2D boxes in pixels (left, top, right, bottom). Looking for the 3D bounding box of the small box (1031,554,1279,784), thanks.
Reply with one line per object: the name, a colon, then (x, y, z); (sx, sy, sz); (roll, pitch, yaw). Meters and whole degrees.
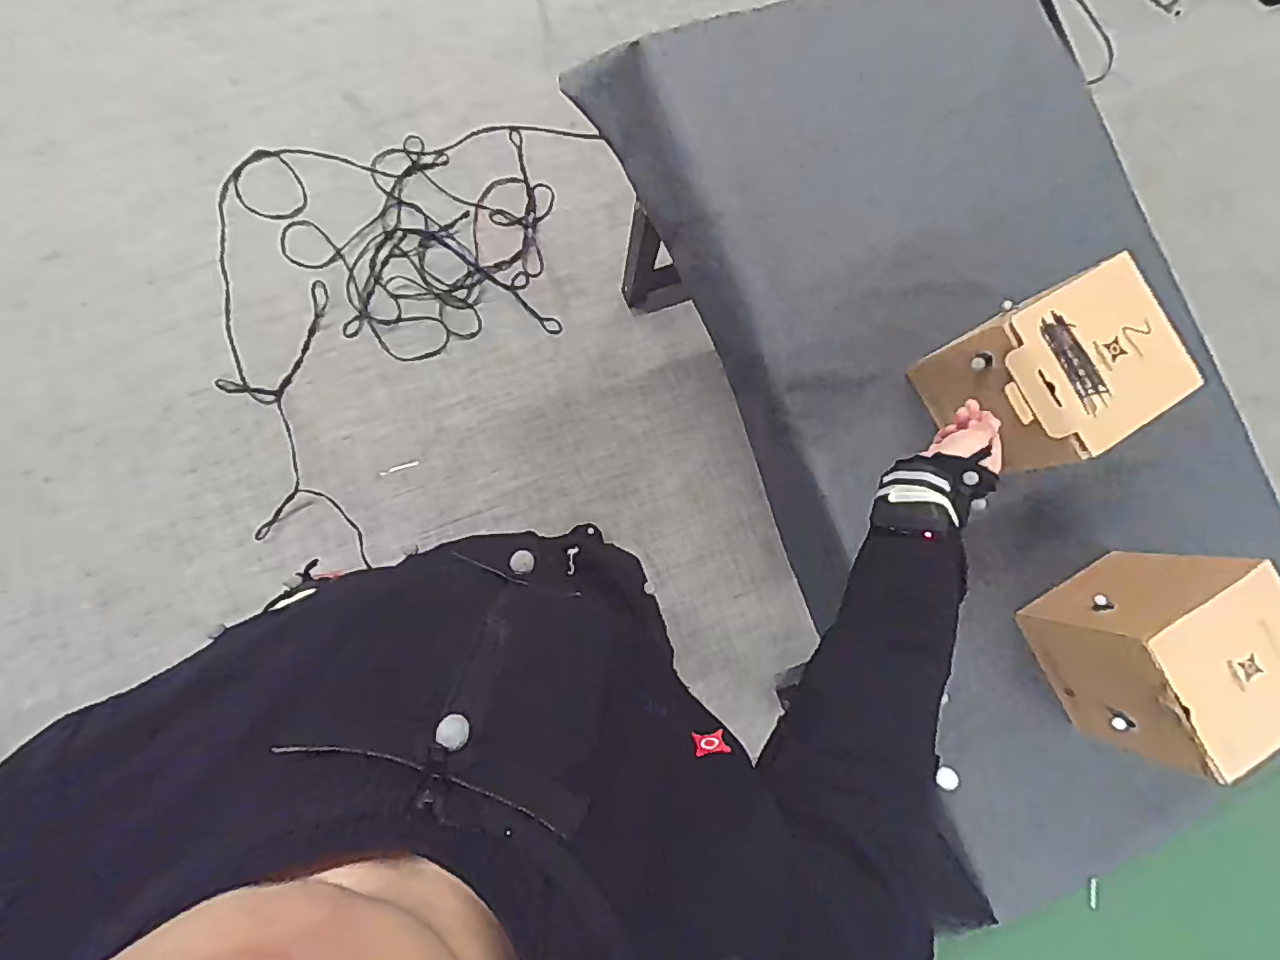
small box: (0.601, 0.198, 0.623); (0.179, 0.176, 0.168); (-28, 90, -9)
